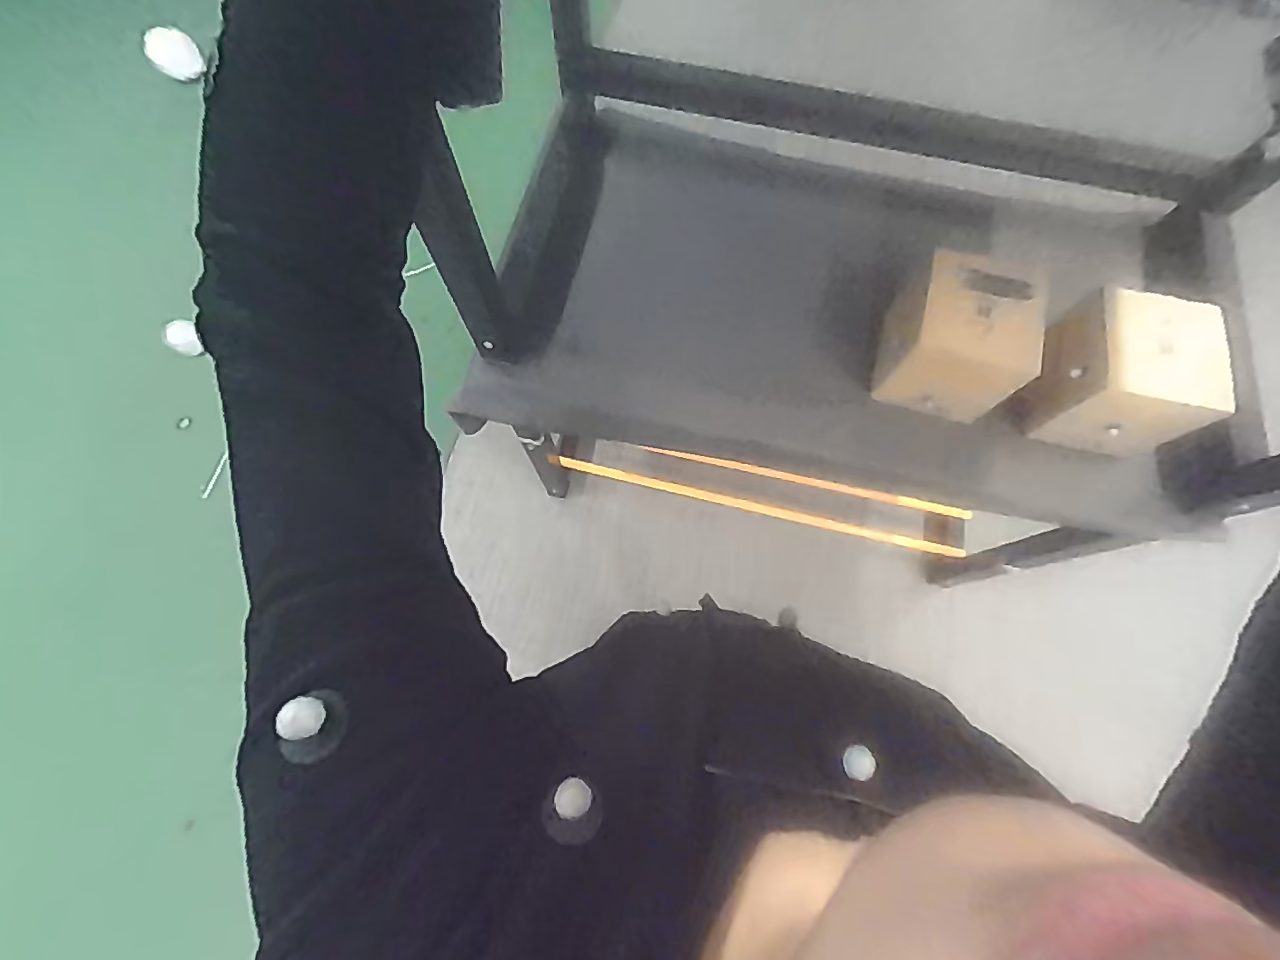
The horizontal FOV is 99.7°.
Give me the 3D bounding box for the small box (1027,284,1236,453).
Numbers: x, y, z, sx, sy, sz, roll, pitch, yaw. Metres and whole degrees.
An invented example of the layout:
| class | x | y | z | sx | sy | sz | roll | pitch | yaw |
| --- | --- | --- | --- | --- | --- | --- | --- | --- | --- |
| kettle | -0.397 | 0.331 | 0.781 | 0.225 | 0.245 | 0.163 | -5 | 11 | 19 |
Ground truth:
| class | x | y | z | sx | sy | sz | roll | pitch | yaw |
| --- | --- | --- | --- | --- | --- | --- | --- | --- | --- |
| small box | 0.724 | -0.159 | 0.819 | 0.168 | 0.176 | 0.179 | 13 | 71 | 3 |
